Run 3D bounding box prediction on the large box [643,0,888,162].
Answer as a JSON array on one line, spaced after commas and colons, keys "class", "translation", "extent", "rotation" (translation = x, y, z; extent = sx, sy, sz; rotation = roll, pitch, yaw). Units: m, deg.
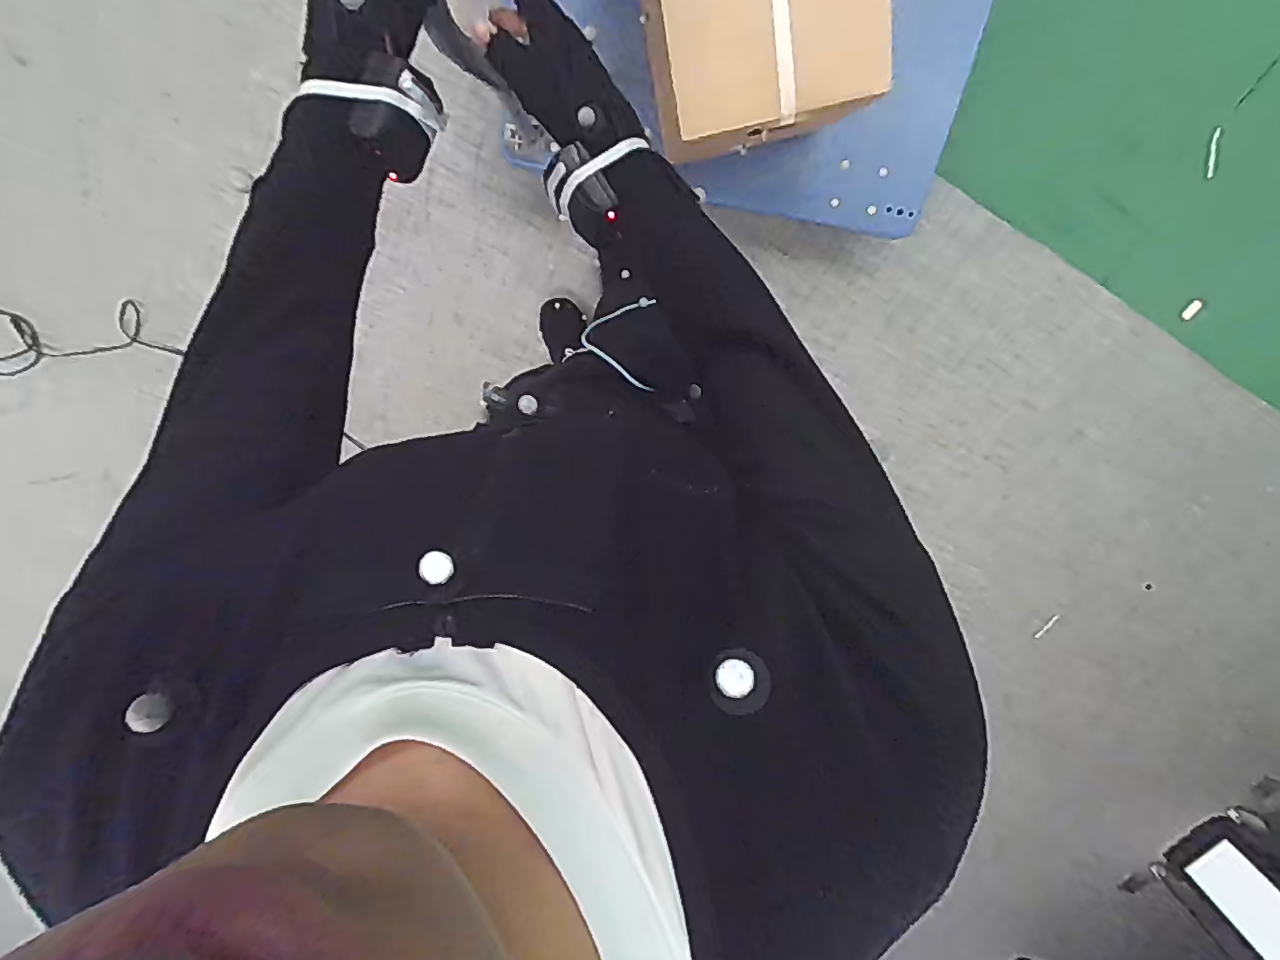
[{"class": "large box", "translation": [0.167, -0.780, 0.853], "extent": [0.320, 0.320, 0.408], "rotation": [-11, 113, 4]}]
